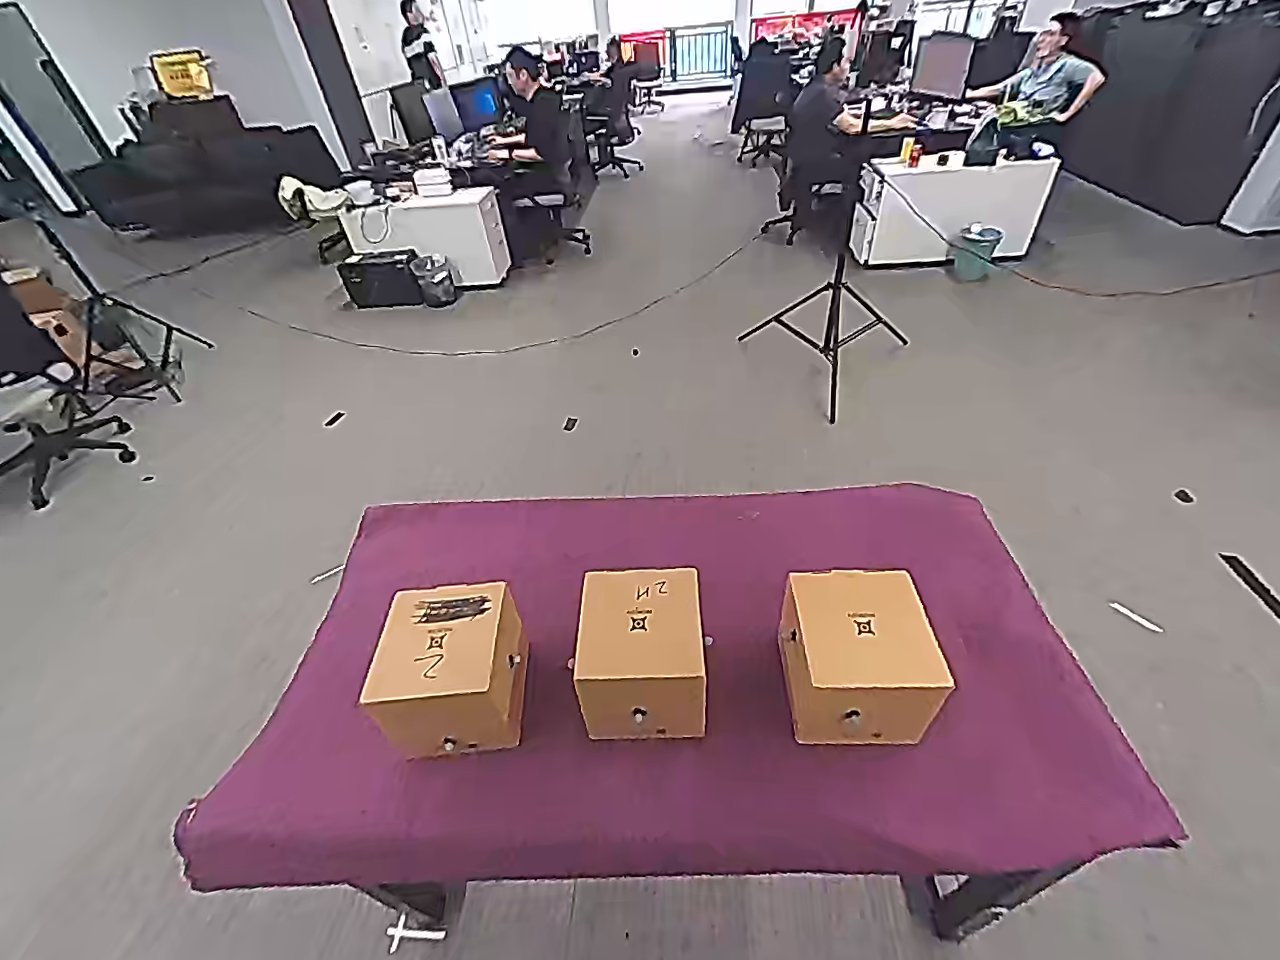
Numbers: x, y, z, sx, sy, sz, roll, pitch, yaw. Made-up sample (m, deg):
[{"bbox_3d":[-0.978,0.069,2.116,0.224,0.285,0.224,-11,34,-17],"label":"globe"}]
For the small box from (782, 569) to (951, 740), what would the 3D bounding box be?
[{"bbox_3d":[0.299,0.247,0.759,0.168,0.176,0.179,-2,41,5],"label":"small box"}]

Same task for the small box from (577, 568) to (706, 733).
[{"bbox_3d":[0.009,0.250,0.787,0.168,0.176,0.179,-2,40,3],"label":"small box"}]
